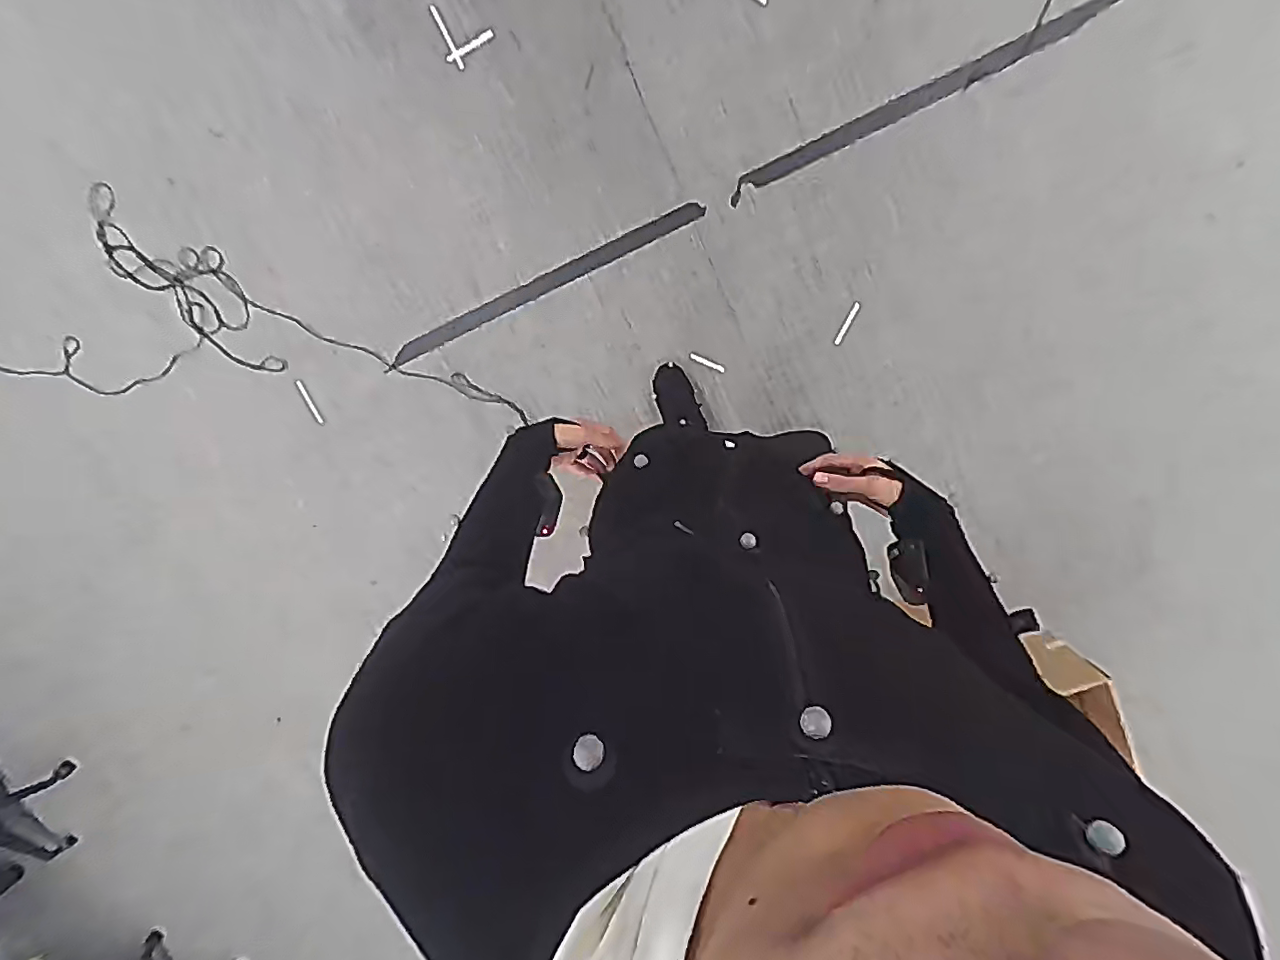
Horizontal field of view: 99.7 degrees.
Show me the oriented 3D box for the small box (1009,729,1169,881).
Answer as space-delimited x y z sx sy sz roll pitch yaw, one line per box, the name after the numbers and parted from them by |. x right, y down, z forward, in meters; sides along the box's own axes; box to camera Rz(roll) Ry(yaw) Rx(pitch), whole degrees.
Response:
0.886 0.641 1.082 0.168 0.176 0.179 -24 103 8 | small box
